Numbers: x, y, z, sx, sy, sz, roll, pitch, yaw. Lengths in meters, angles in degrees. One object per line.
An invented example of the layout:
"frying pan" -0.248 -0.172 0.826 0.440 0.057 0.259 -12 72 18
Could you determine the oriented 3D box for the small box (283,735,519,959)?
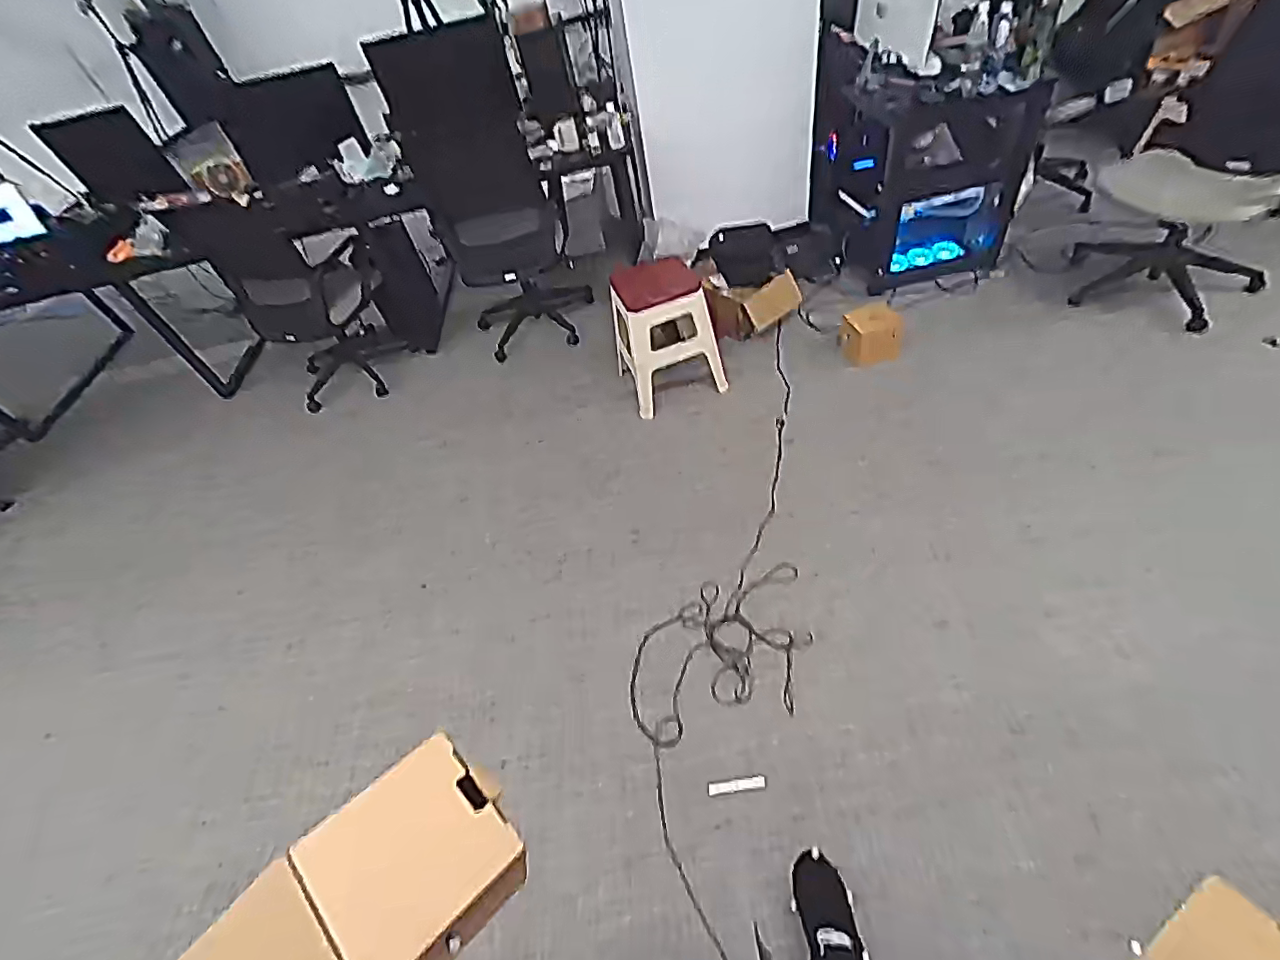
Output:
"small box" -0.249 0.436 0.603 0.168 0.176 0.179 37 49 26
